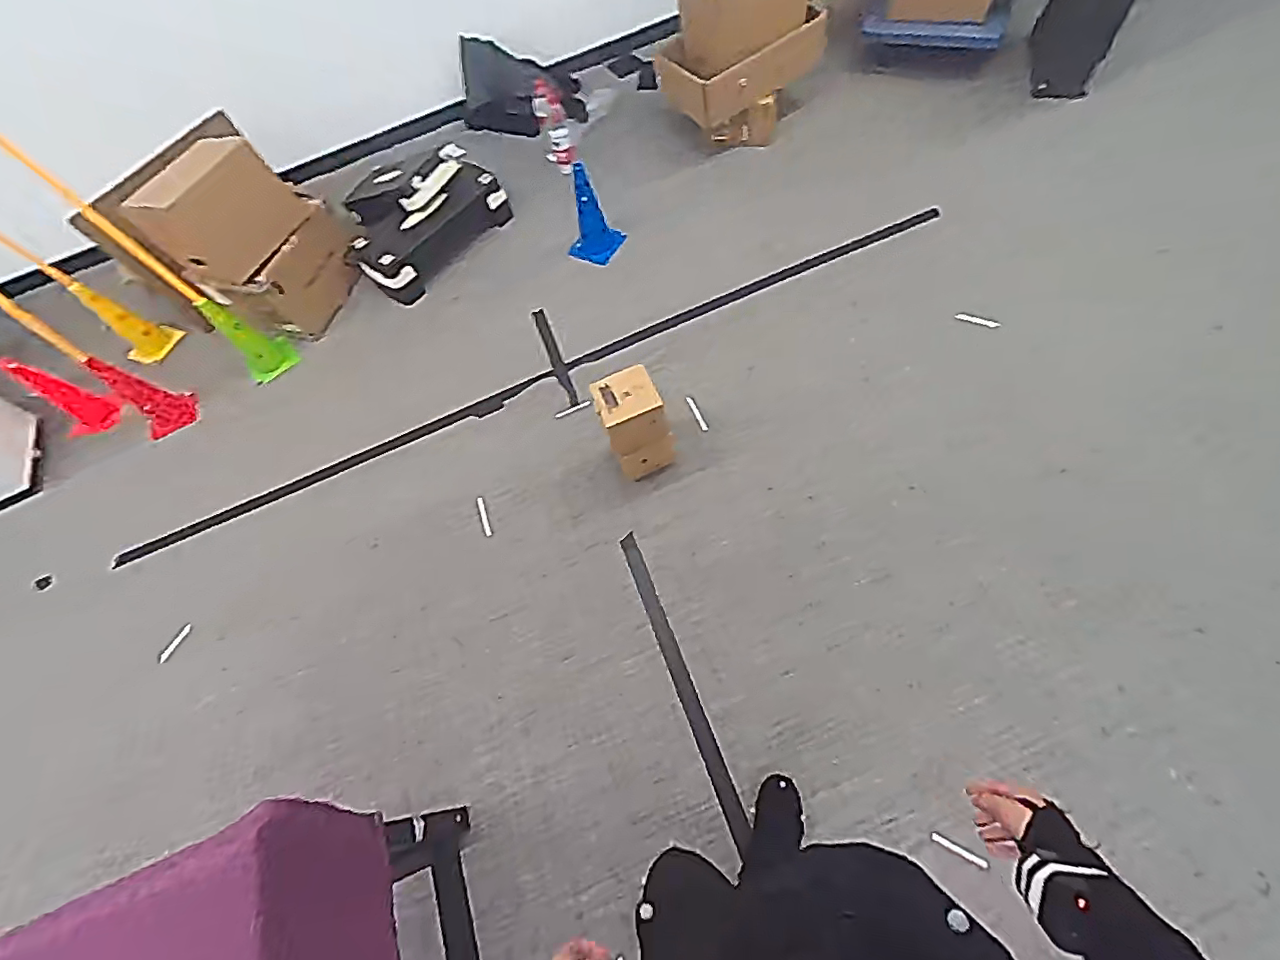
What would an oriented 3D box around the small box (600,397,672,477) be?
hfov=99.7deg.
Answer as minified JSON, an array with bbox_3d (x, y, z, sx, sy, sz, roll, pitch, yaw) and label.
[{"bbox_3d":[-0.008,-0.129,1.750,0.168,0.176,0.179,-27,62,-4],"label":"small box"}]
